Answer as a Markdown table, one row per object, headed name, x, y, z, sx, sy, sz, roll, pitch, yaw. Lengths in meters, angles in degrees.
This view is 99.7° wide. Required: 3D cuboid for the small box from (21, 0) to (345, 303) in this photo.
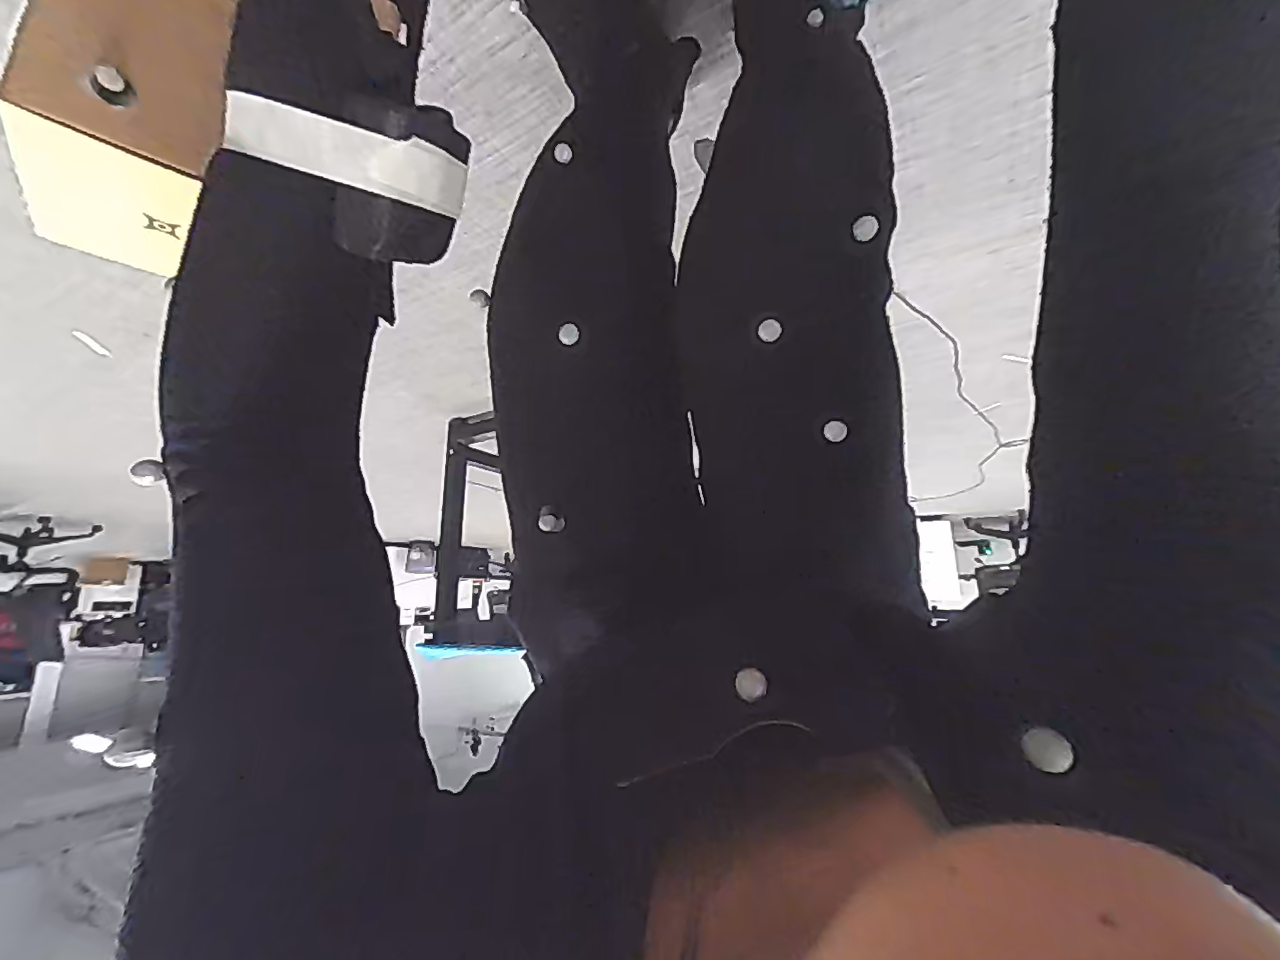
| name | x | y | z | sx | sy | sz | roll | pitch | yaw |
| --- | --- | --- | --- | --- | --- | --- | --- | --- | --- |
| small box | -0.377 | -0.286 | 0.463 | 0.179 | 0.176 | 0.168 | 10 | 165 | -44 |
